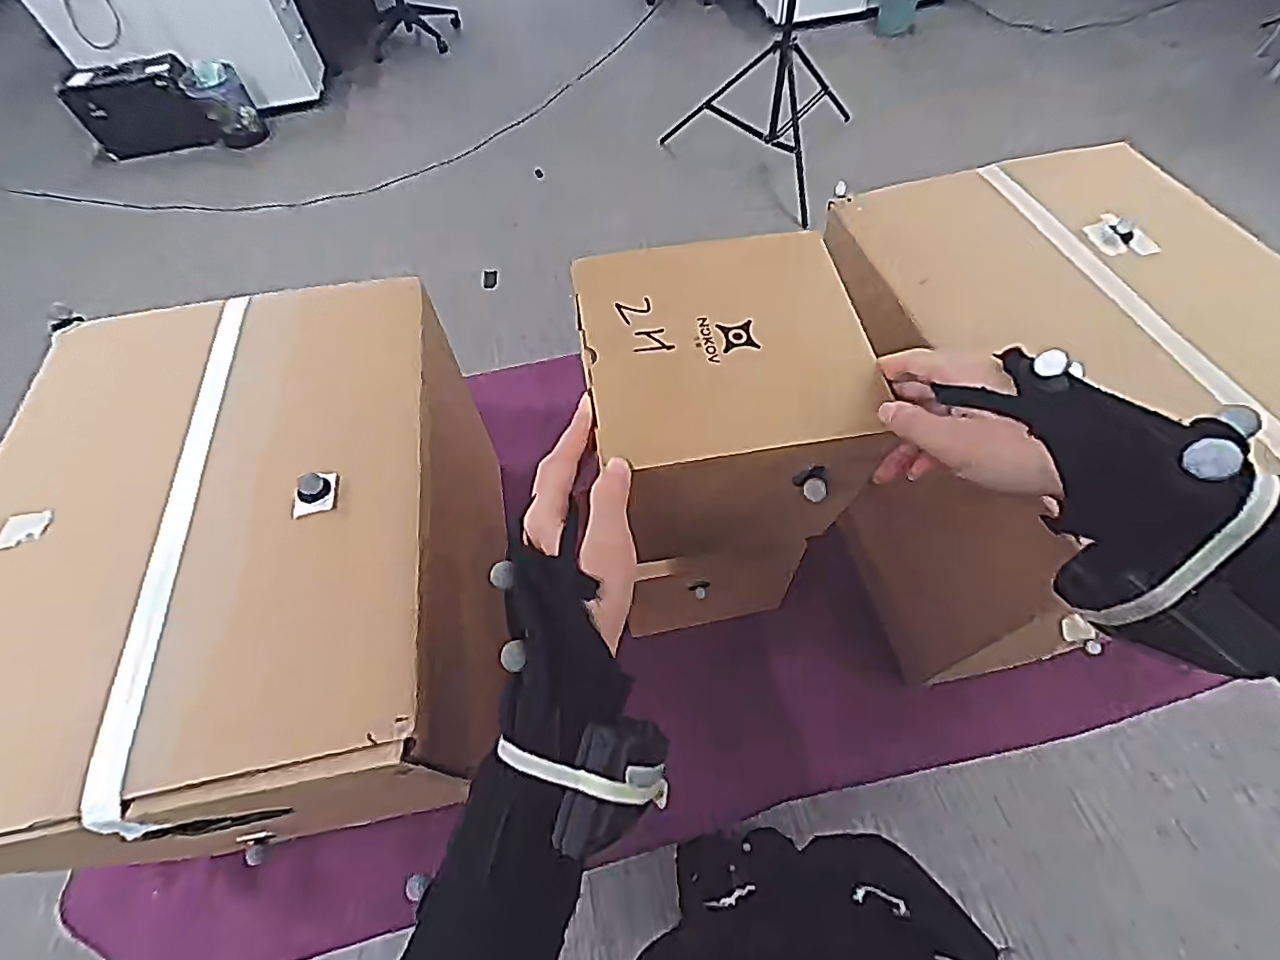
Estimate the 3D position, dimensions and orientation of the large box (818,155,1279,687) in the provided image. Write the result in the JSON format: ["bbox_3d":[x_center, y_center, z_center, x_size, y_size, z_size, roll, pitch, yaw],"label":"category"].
[{"bbox_3d":[0.379,-0.056,0.556,0.320,0.320,0.408,-12,56,-4],"label":"large box"}]

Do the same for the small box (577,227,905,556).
[{"bbox_3d":[0.054,-0.055,0.404,0.179,0.176,0.168,-8,63,-3],"label":"small box"}]
